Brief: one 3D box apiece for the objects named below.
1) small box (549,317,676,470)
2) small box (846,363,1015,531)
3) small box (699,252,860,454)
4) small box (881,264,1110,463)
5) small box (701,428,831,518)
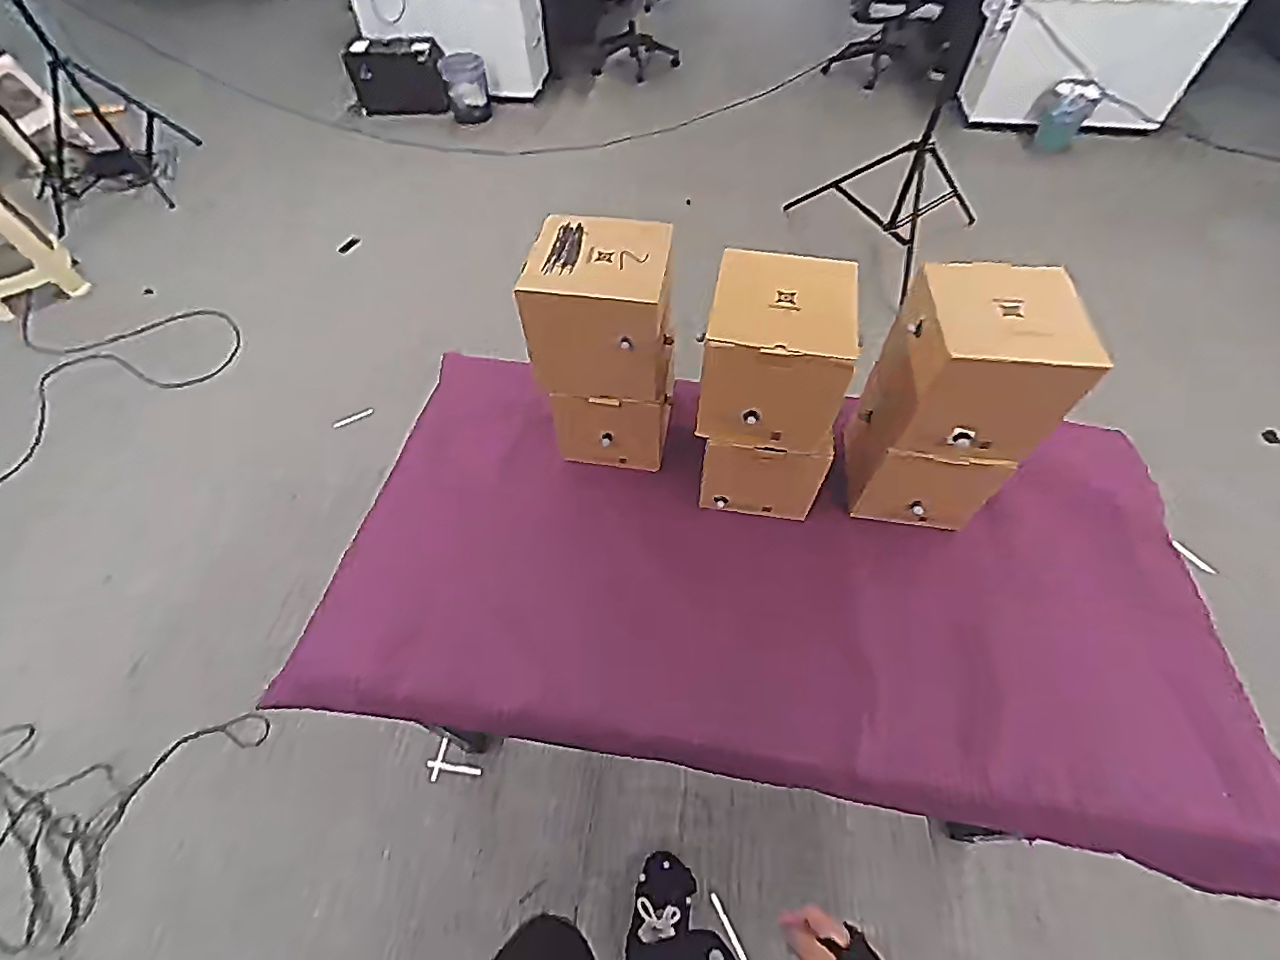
[{"bbox_3d":[-0.035,-0.136,0.878,0.168,0.176,0.179,8,57,6],"label":"small box"},{"bbox_3d":[0.417,-0.047,0.813,0.168,0.176,0.179,7,56,7],"label":"small box"},{"bbox_3d":[0.171,-0.160,0.696,0.168,0.176,0.179,9,57,7],"label":"small box"},{"bbox_3d":[0.421,-0.143,0.682,0.168,0.176,0.179,5,56,5],"label":"small box"},{"bbox_3d":[0.186,-0.061,0.825,0.168,0.176,0.179,7,55,6],"label":"small box"}]
